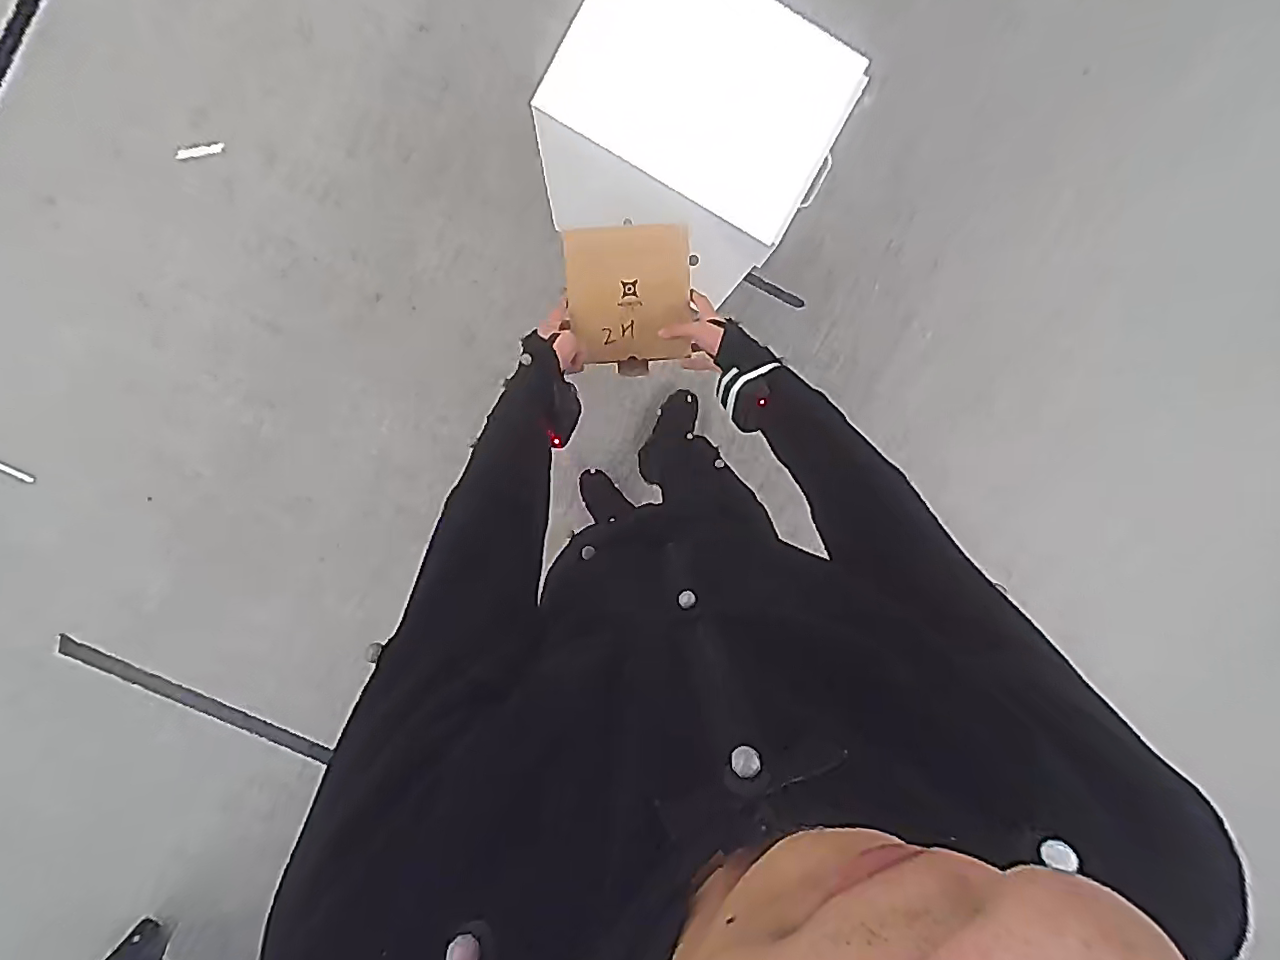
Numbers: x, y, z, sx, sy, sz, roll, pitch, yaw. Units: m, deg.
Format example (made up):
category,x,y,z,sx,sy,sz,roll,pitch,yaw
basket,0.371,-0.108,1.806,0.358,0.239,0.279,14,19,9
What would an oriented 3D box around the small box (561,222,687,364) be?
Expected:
category,x,y,z,sx,sy,sz,roll,pitch,yaw
small box,-0.021,-0.271,0.792,0.168,0.176,0.179,-3,111,0
